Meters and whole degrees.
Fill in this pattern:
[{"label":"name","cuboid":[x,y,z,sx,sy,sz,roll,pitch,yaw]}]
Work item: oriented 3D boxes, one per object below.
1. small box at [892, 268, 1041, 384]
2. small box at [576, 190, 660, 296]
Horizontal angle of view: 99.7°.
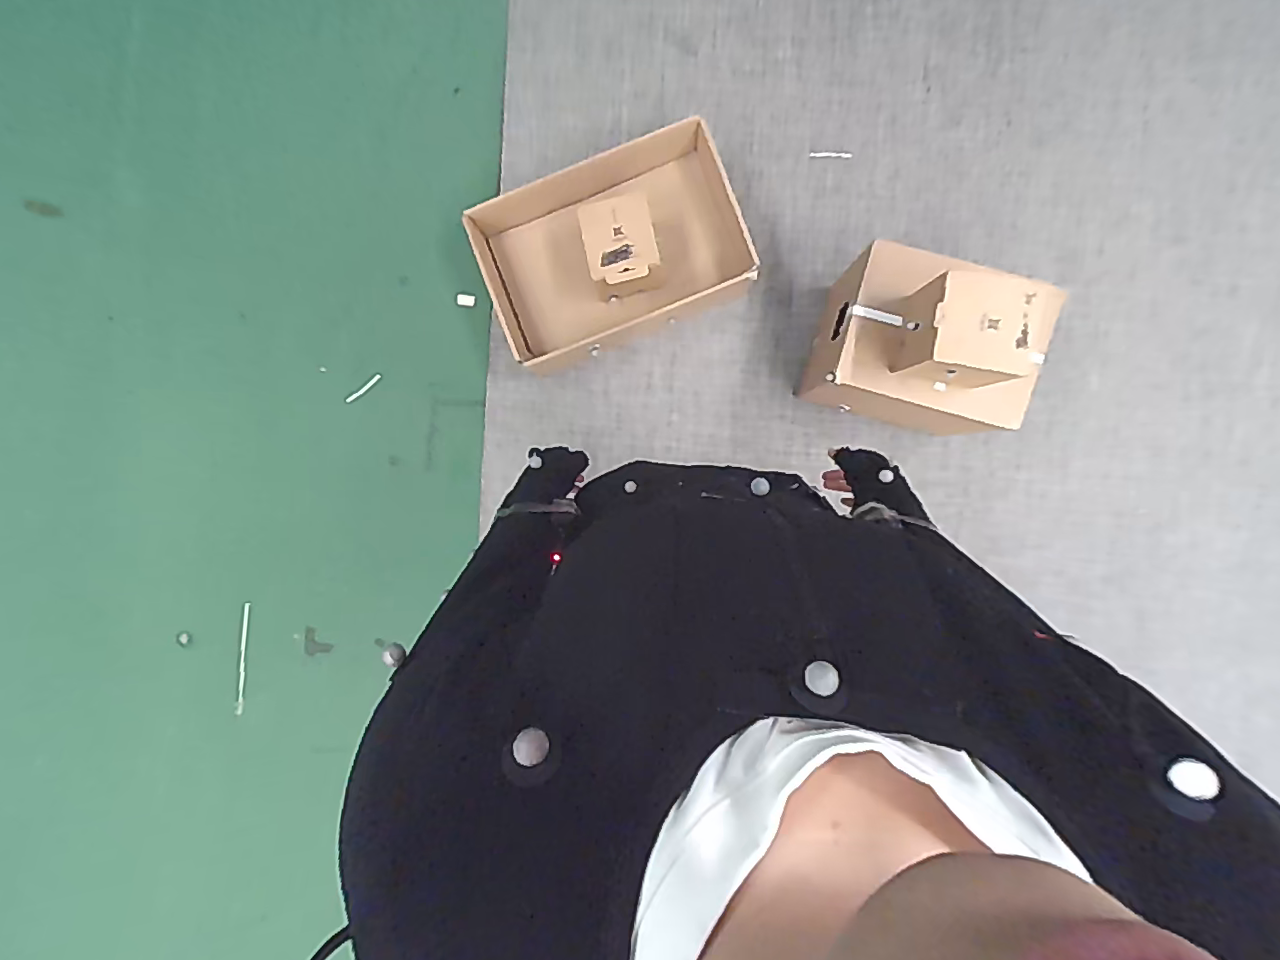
[{"label":"small box","cuboid":[0.615,-0.288,1.044,0.179,0.176,0.168,10,93,2]},{"label":"small box","cuboid":[-0.048,-0.568,1.326,0.168,0.176,0.179,-13,89,4]}]
